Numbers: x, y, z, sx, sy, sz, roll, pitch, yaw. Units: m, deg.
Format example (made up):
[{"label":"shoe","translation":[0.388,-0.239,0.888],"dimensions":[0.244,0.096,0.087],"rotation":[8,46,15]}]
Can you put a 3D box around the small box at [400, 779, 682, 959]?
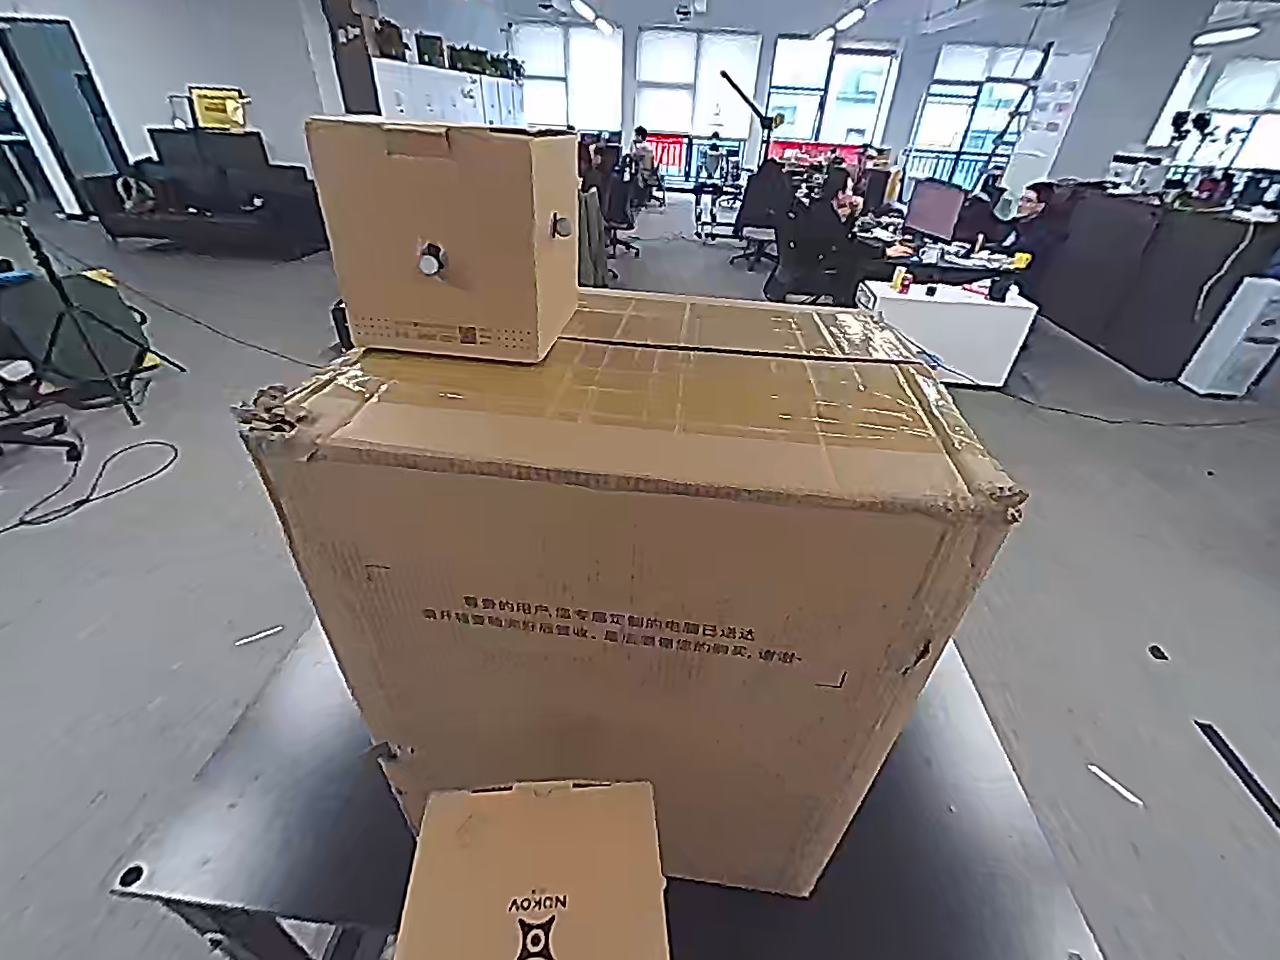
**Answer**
[{"label":"small box","translation":[-0.066,0.335,0.370],"dimensions":[0.168,0.176,0.179],"rotation":[2,36,-7]}]

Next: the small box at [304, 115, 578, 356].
[{"label":"small box","translation":[-0.150,-0.221,0.484],"dimensions":[0.168,0.176,0.179],"rotation":[5,34,2]}]
